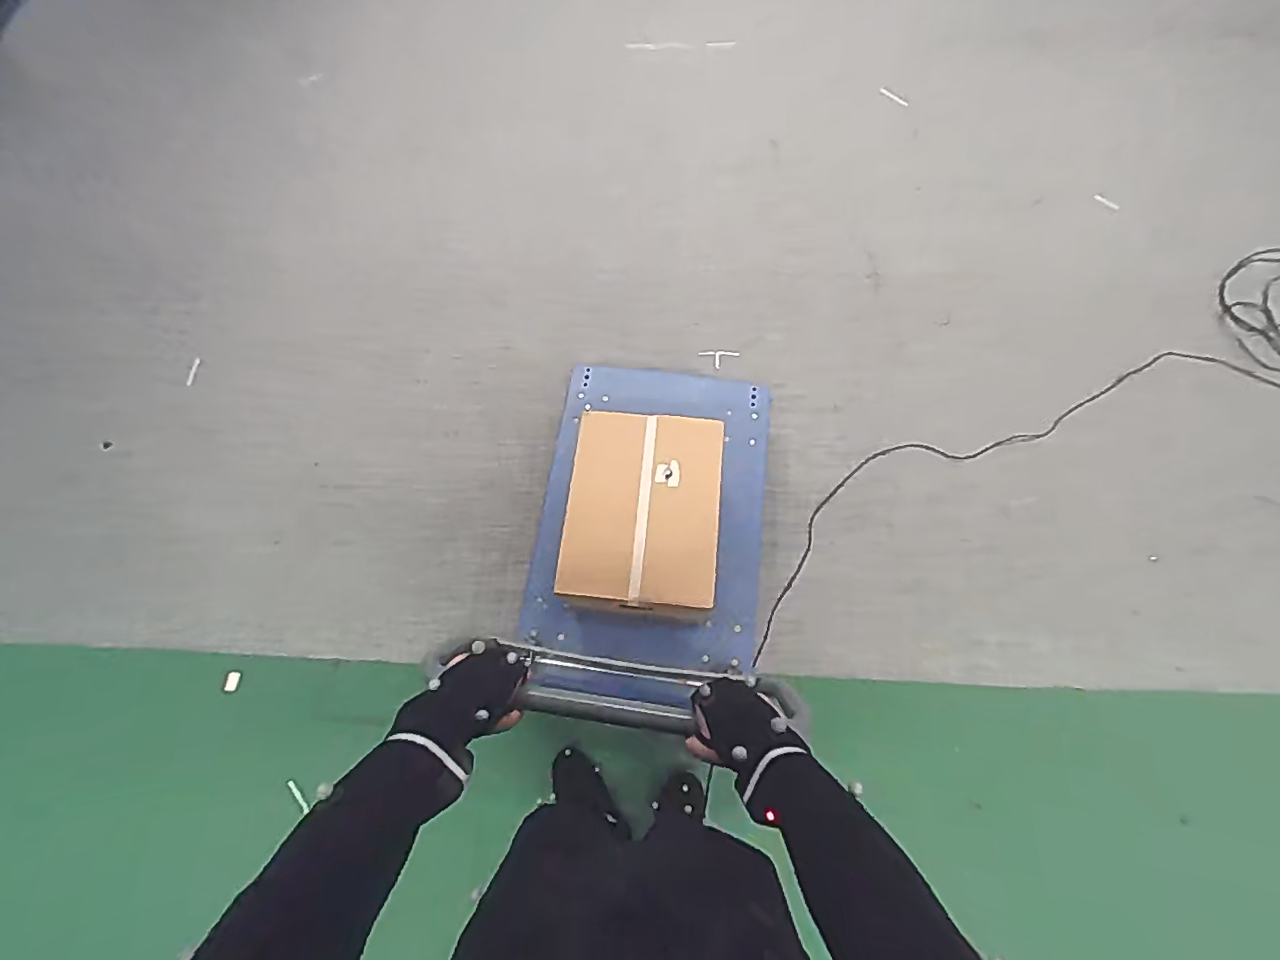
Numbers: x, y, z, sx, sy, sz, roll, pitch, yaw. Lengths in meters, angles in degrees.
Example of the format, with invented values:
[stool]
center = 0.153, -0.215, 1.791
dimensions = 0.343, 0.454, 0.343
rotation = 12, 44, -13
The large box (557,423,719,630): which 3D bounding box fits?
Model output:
[large box]
center = 0.011, 0.122, 1.256
dimensions = 0.320, 0.320, 0.408
rotation = 5, 69, 3
